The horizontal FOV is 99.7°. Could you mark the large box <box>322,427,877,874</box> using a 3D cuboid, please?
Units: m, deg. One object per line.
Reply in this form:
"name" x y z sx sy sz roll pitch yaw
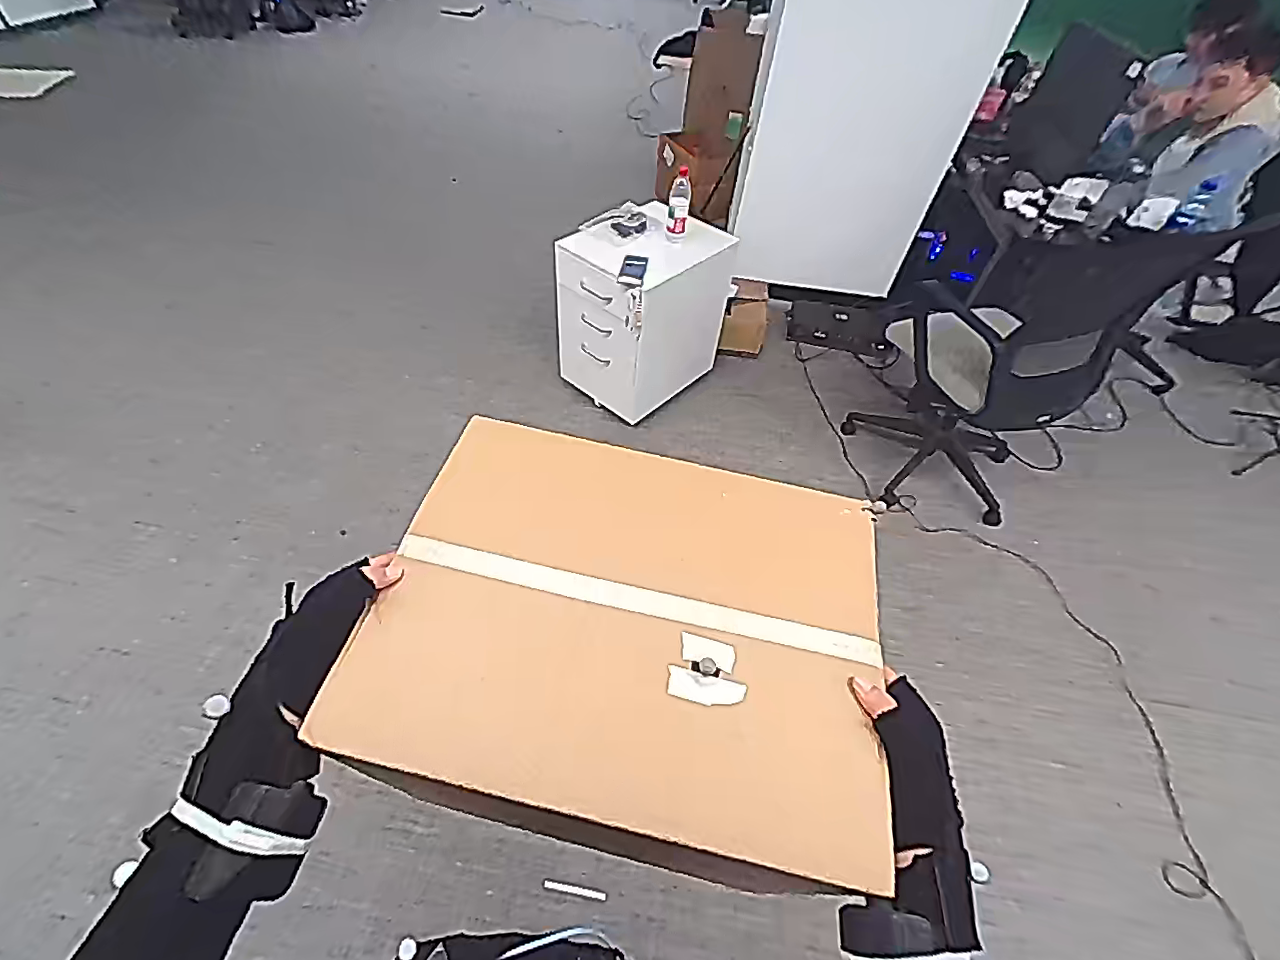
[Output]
"large box" -0.020 0.190 0.579 0.408 0.320 0.320 13 54 3
